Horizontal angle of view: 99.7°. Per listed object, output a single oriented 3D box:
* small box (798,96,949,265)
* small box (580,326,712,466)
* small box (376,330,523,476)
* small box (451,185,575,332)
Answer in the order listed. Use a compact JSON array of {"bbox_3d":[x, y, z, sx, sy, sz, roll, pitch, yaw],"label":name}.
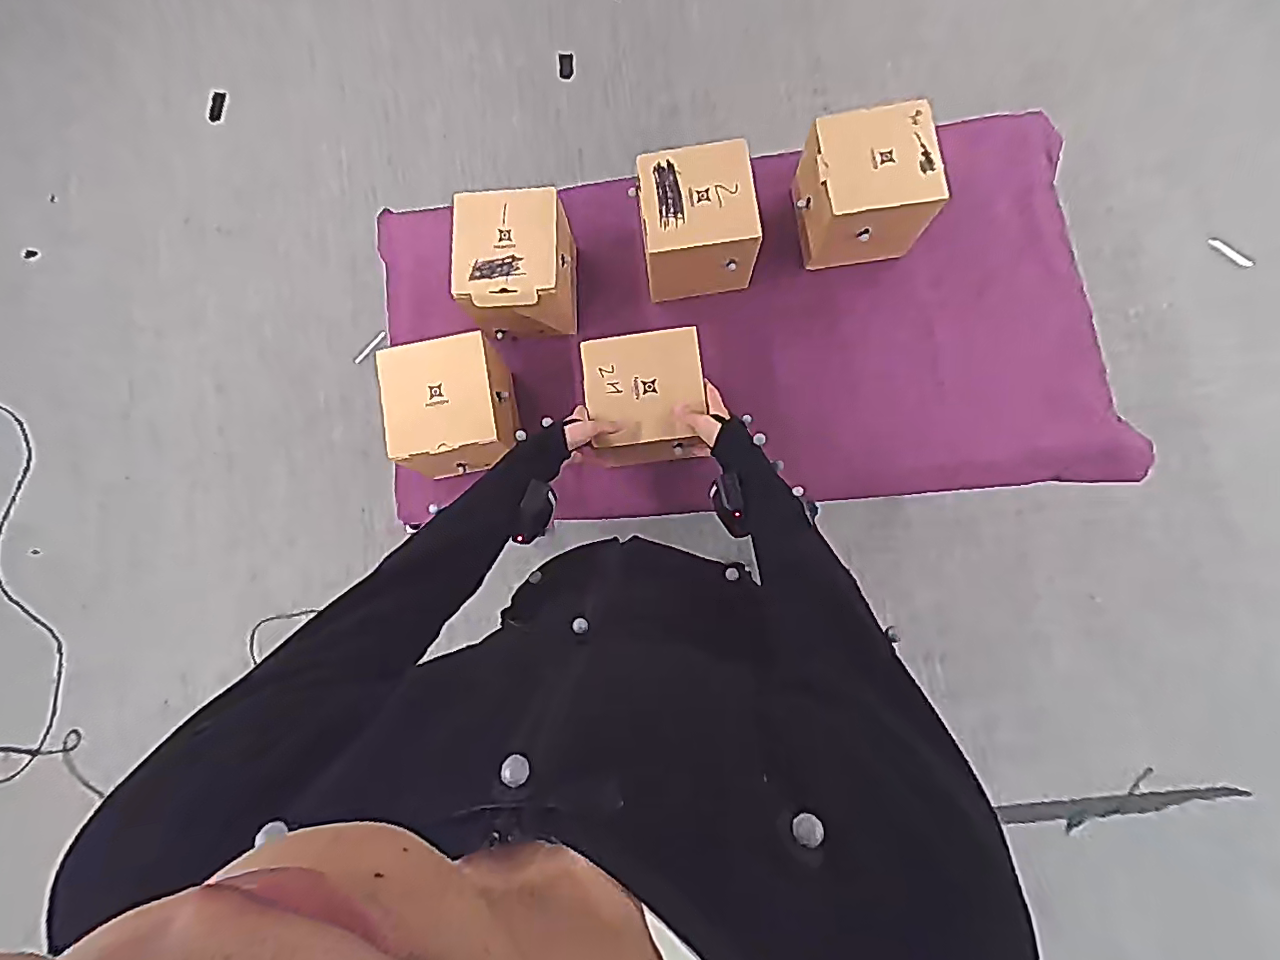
[{"bbox_3d":[0.364,-0.474,0.883,0.179,0.176,0.168,-8,84,4],"label":"small box"},{"bbox_3d":[0.013,-0.123,0.852,0.179,0.176,0.168,-7,81,4],"label":"small box"},{"bbox_3d":[-0.299,-0.116,0.878,0.168,0.176,0.179,-11,82,0],"label":"small box"},{"bbox_3d":[-0.203,-0.357,0.907,0.168,0.176,0.179,-2,82,3],"label":"small box"}]
